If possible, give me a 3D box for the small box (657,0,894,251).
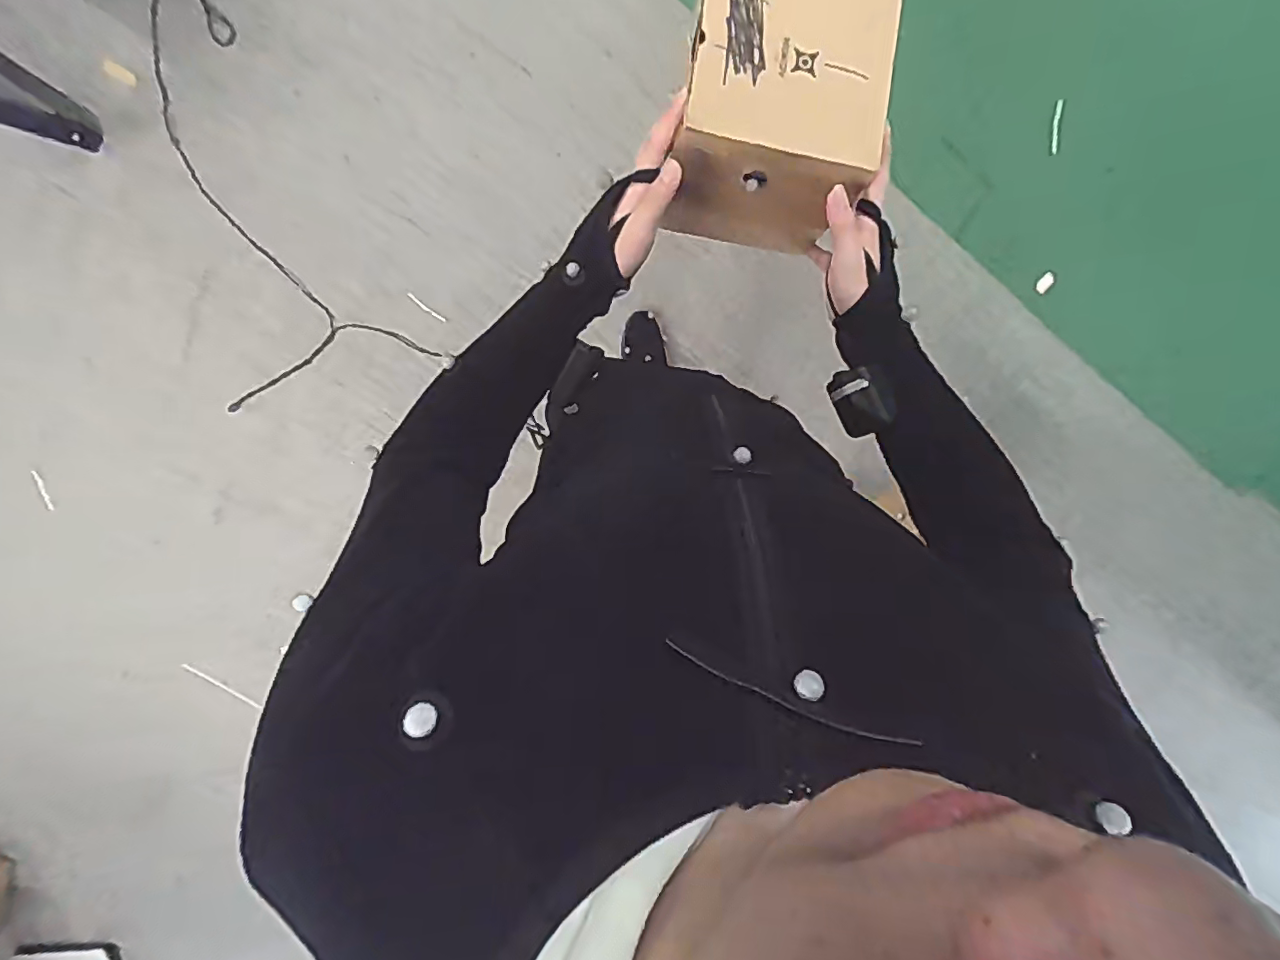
[{"bbox_3d":[0.118,-0.354,0.540,0.179,0.176,0.168,9,87,-6],"label":"small box"}]
